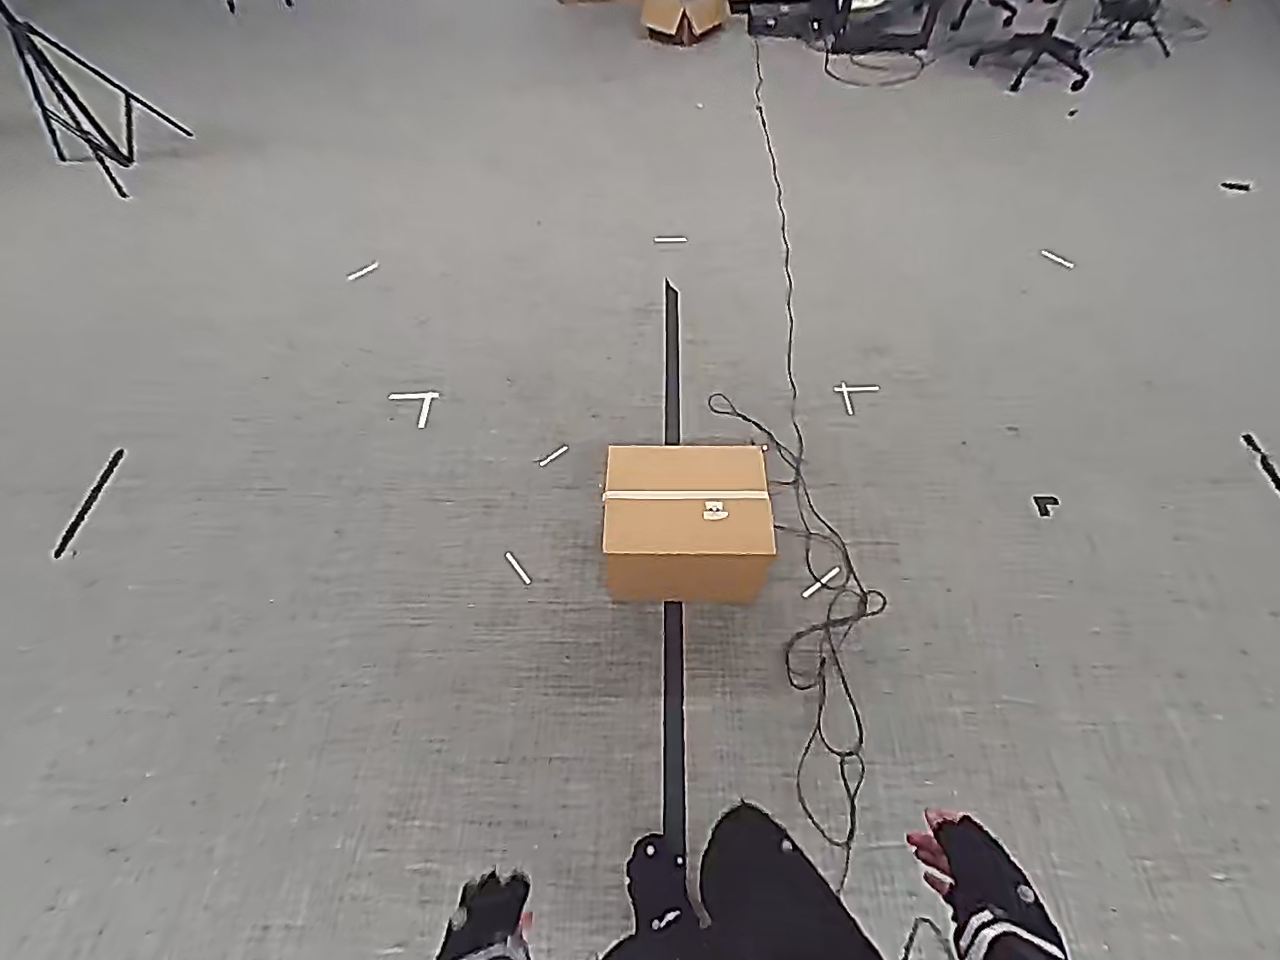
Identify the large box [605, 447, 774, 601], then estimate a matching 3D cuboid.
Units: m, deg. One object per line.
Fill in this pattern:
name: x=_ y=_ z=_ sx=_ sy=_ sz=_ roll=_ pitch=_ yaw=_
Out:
large box: x=0.115 y=0.125 z=1.463 sx=0.408 sy=0.320 sz=0.320 roll=0 pitch=57 yaw=1
